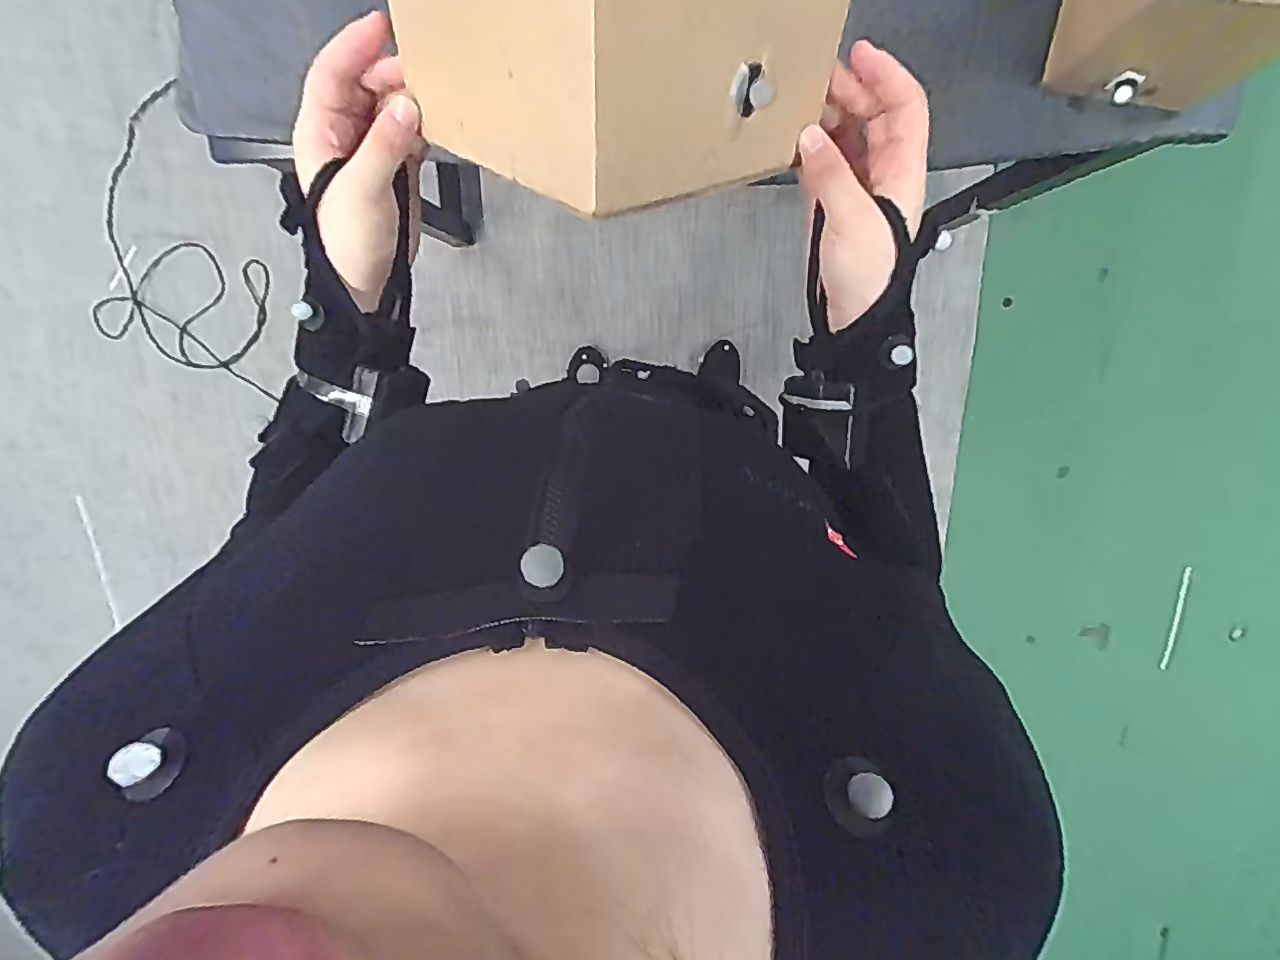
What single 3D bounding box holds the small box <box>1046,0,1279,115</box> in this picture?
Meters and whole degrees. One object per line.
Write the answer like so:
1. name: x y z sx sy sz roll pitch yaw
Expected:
1. small box: 0.533 -0.487 0.508 0.168 0.176 0.179 10 102 2
